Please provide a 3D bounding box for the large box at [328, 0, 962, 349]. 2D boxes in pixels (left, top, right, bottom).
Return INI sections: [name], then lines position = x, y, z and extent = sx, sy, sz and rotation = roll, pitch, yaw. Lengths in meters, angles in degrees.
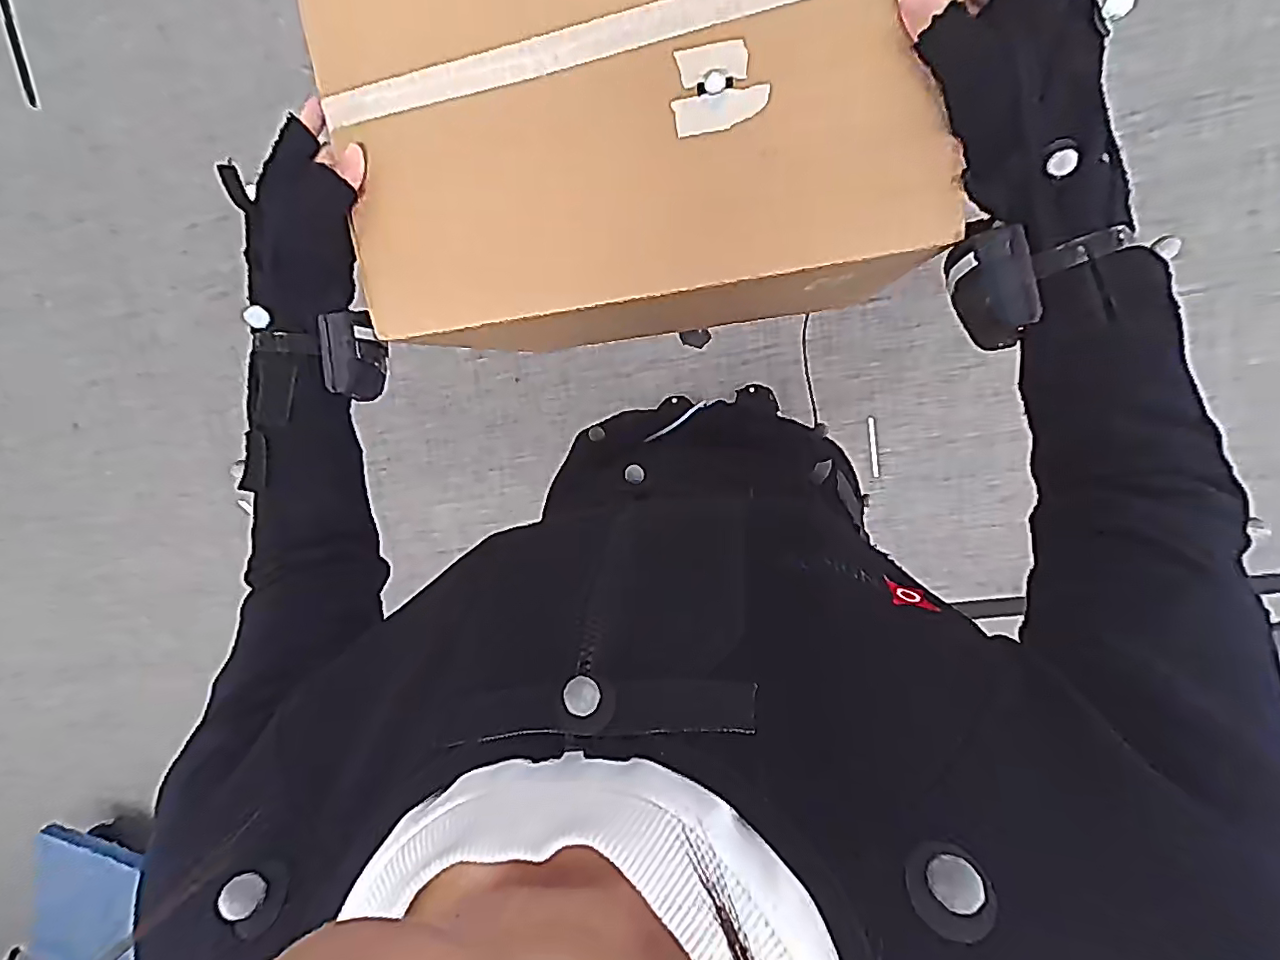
[large box]
position = 0.010, -0.313, 0.495
extent = 0.408, 0.320, 0.320
rotation = -6, 101, 11
